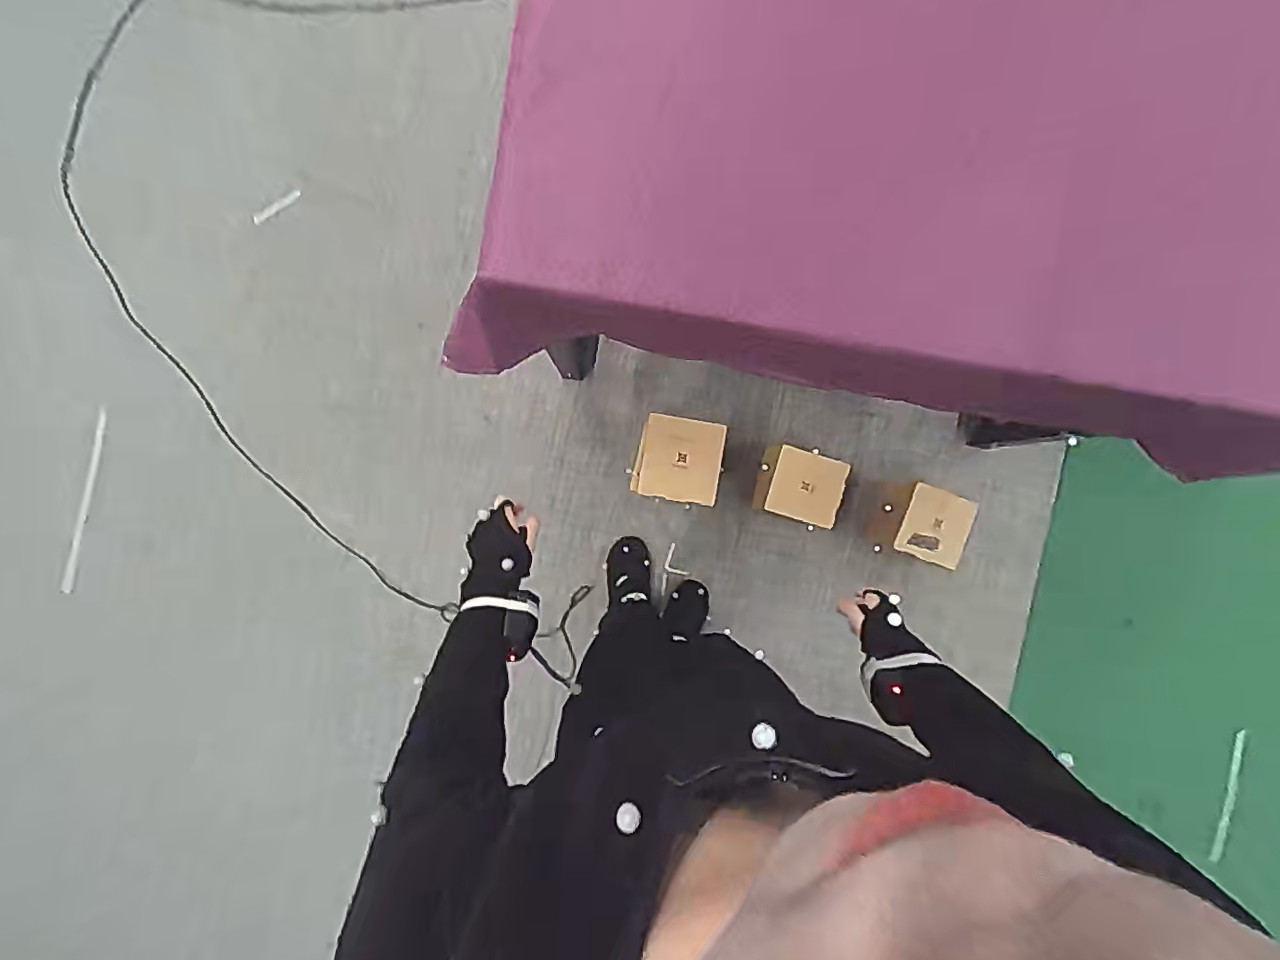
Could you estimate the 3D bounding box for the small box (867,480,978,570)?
[{"bbox_3d":[0.708,0.109,1.379,0.168,0.176,0.179,21,88,-1],"label":"small box"}]
